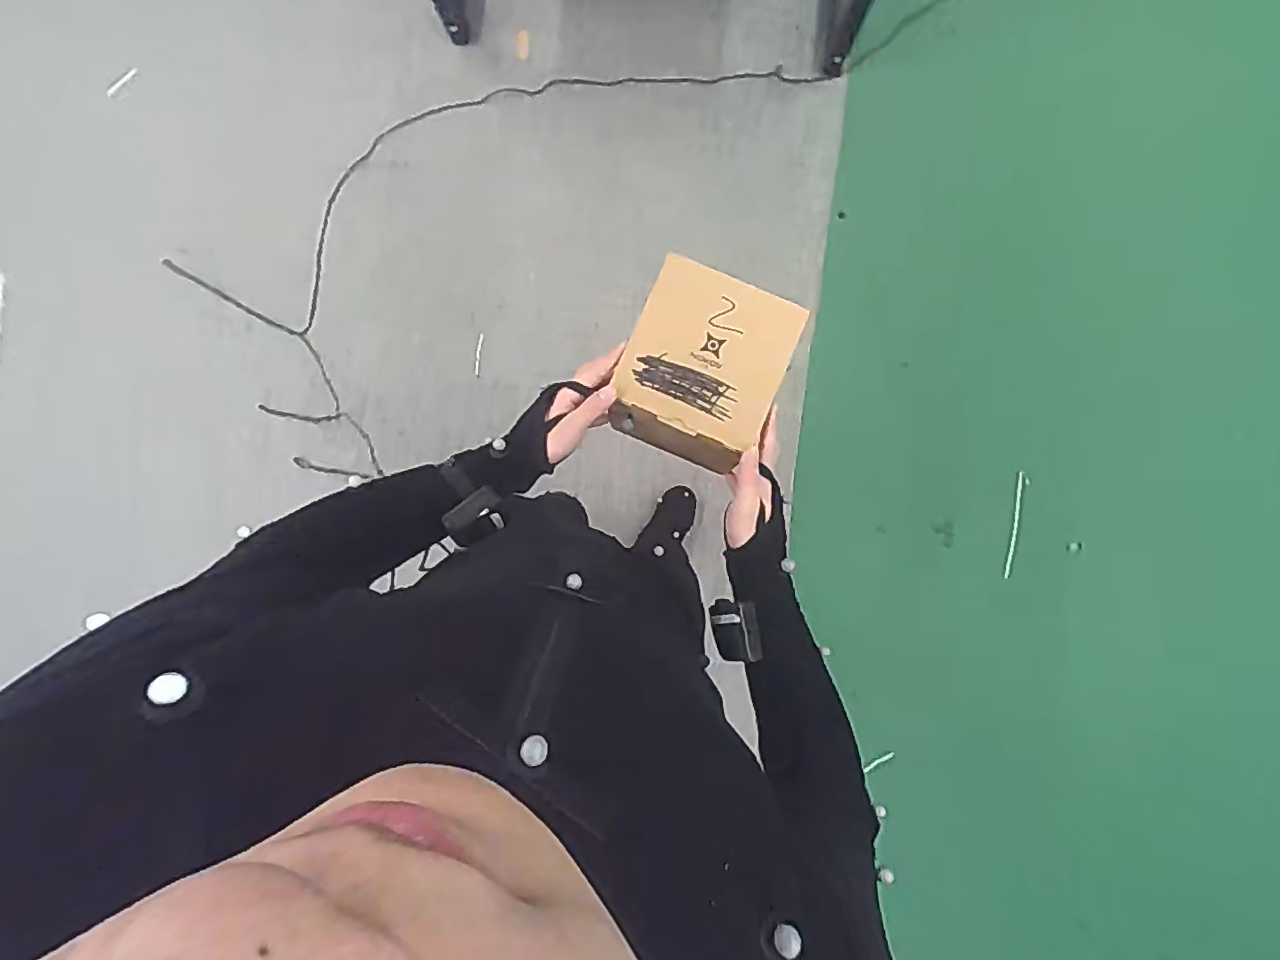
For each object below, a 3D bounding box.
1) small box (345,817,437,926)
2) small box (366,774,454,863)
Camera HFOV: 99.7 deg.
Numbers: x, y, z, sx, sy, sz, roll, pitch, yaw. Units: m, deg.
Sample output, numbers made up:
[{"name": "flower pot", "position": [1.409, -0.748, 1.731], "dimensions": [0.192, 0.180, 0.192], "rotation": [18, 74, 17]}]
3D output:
[{"name": "small box", "position": [-0.637, 0.982, 1.350], "dimensions": [0.168, 0.176, 0.179], "rotation": [-18, 90, 1]}, {"name": "small box", "position": [-0.637, 0.950, 1.513], "dimensions": [0.168, 0.176, 0.179], "rotation": [-7, 90, 1]}]
